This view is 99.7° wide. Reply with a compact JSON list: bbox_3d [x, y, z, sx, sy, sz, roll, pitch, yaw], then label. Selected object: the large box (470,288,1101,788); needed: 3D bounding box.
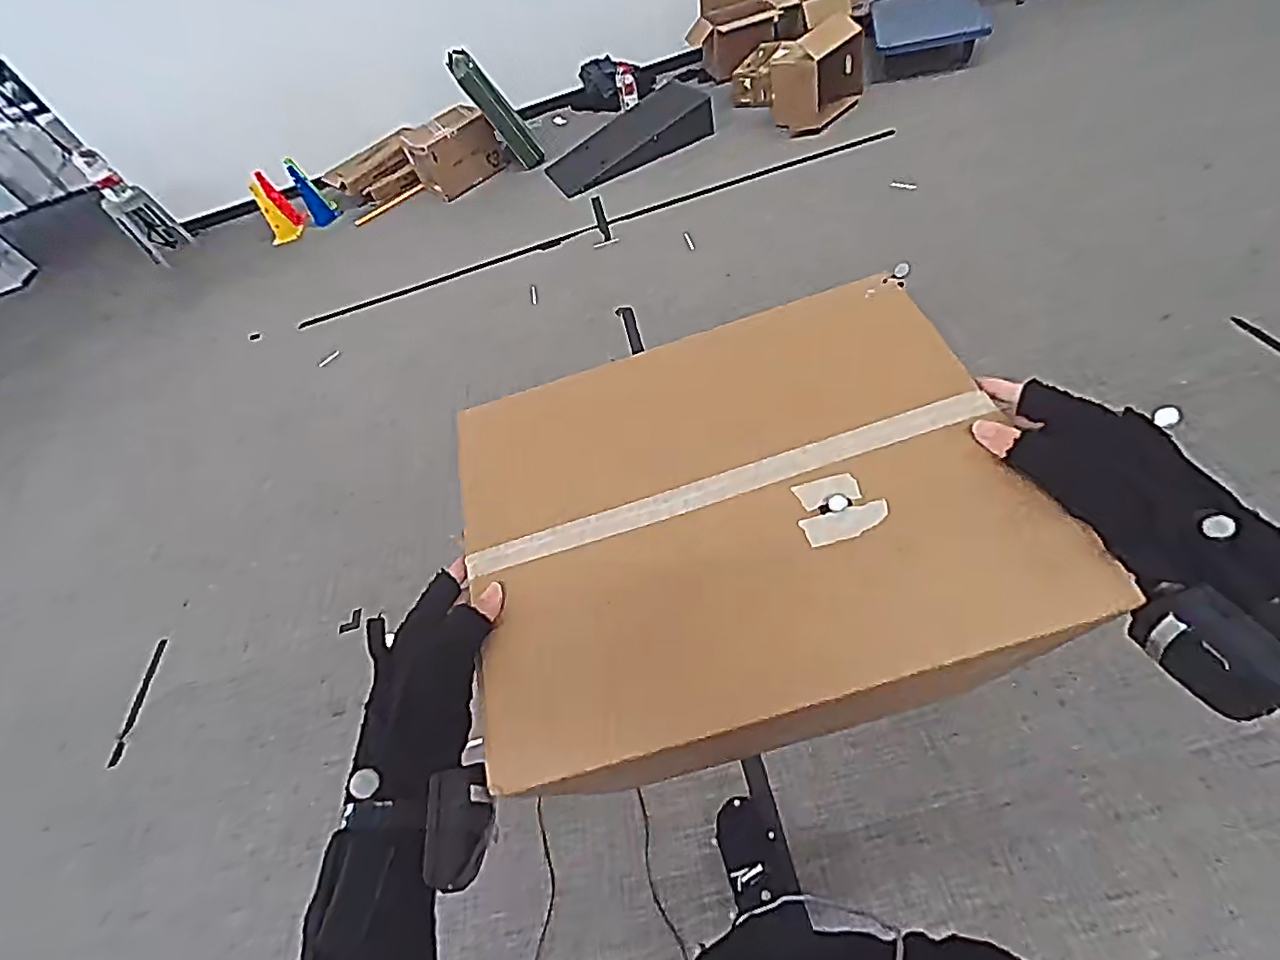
[{"bbox_3d":[0.092,0.082,0.546,0.408,0.320,0.320,-18,59,2],"label":"large box"}]
